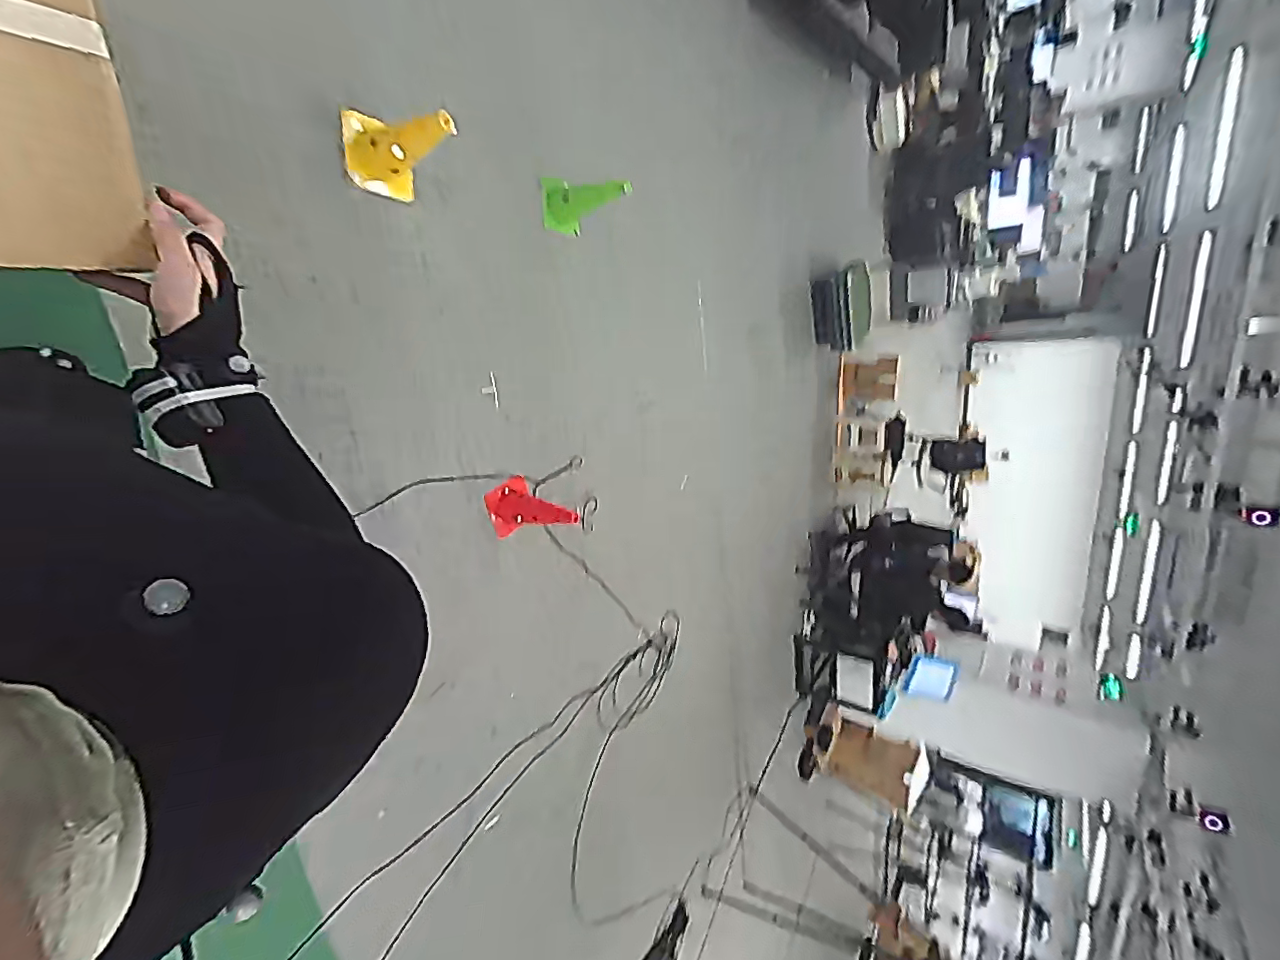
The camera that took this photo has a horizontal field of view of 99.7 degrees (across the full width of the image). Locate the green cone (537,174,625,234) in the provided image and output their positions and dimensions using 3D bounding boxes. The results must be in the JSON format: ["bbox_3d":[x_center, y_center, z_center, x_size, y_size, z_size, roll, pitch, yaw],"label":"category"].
[{"bbox_3d":[-0.202,-1.099,2.081,0.202,0.368,0.200,-16,107,-49],"label":"green cone"}]
